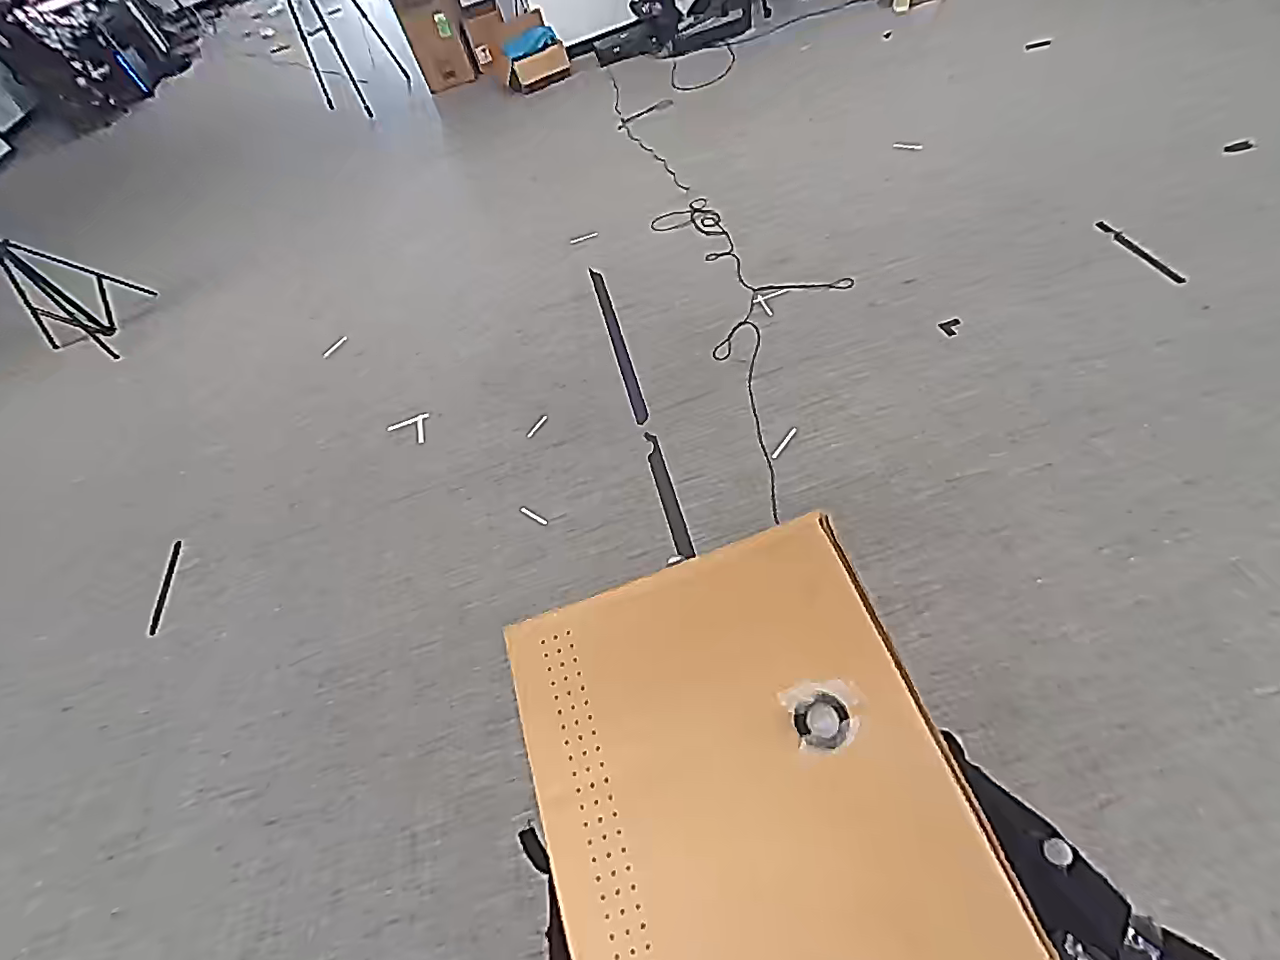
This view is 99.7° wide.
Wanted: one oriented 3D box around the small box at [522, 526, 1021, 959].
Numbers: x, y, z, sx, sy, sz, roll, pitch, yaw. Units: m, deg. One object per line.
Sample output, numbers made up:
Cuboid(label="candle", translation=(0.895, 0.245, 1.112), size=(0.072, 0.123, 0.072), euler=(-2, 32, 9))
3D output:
Cuboid(label="small box", translation=(0.050, 0.155, 0.304), size=(0.176, 0.168, 0.179), euler=(-22, 65, 4))
